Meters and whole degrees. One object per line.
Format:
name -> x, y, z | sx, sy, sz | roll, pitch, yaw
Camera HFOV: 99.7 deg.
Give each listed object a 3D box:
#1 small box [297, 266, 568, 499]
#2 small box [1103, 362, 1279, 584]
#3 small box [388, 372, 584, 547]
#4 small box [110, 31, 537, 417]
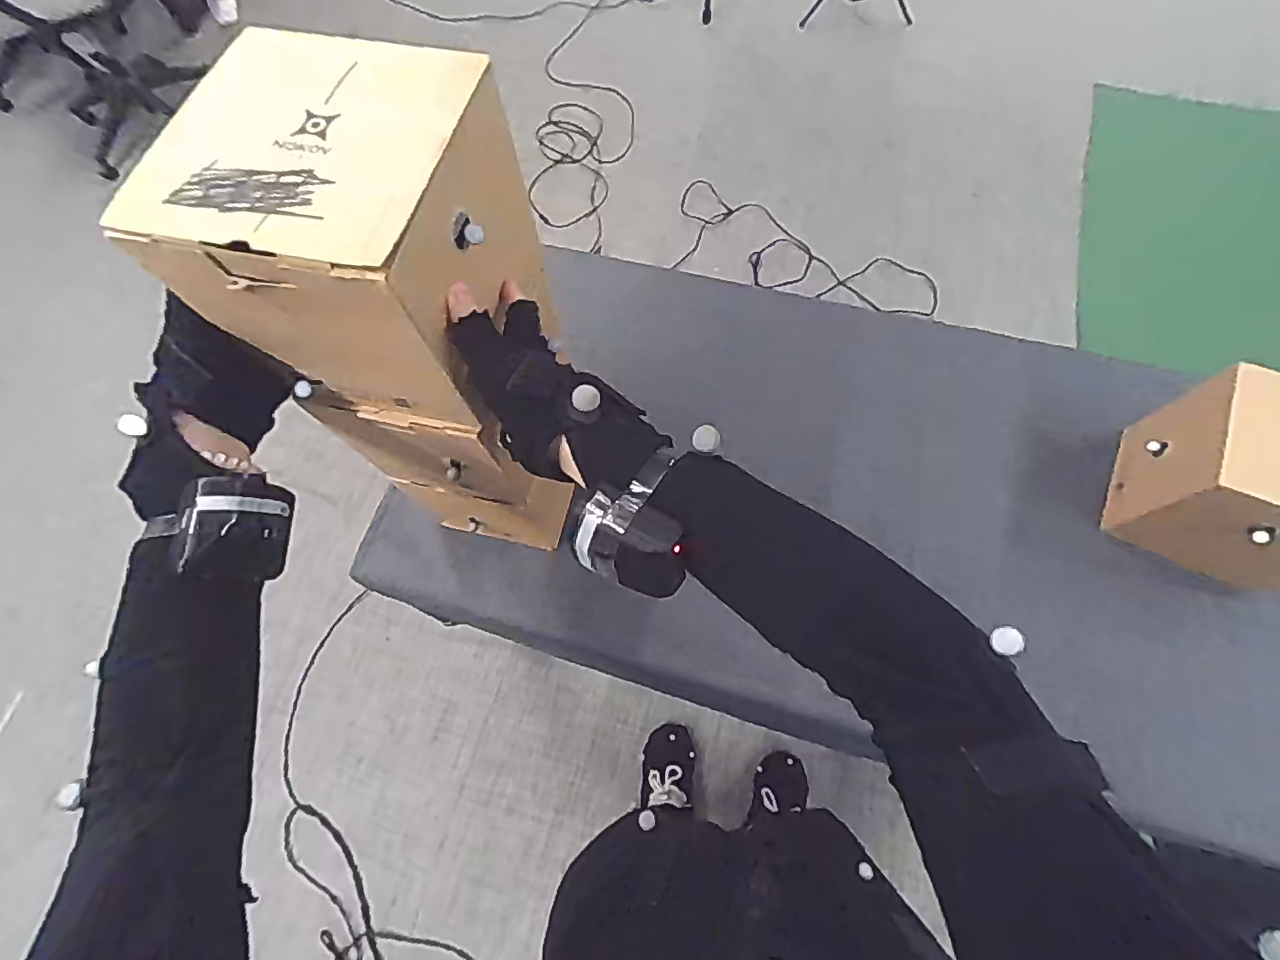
small box -> -0.178, -0.097, 0.532 | 0.168, 0.176, 0.179 | 12, 69, 7
small box -> 0.692, 0.002, 0.621 | 0.179, 0.176, 0.168 | 26, 72, 12
small box -> -0.175, -0.034, 0.682 | 0.168, 0.176, 0.179 | 12, 69, 7
small box -> -0.184, -0.165, 0.383 | 0.168, 0.176, 0.179 | 11, 69, 6
